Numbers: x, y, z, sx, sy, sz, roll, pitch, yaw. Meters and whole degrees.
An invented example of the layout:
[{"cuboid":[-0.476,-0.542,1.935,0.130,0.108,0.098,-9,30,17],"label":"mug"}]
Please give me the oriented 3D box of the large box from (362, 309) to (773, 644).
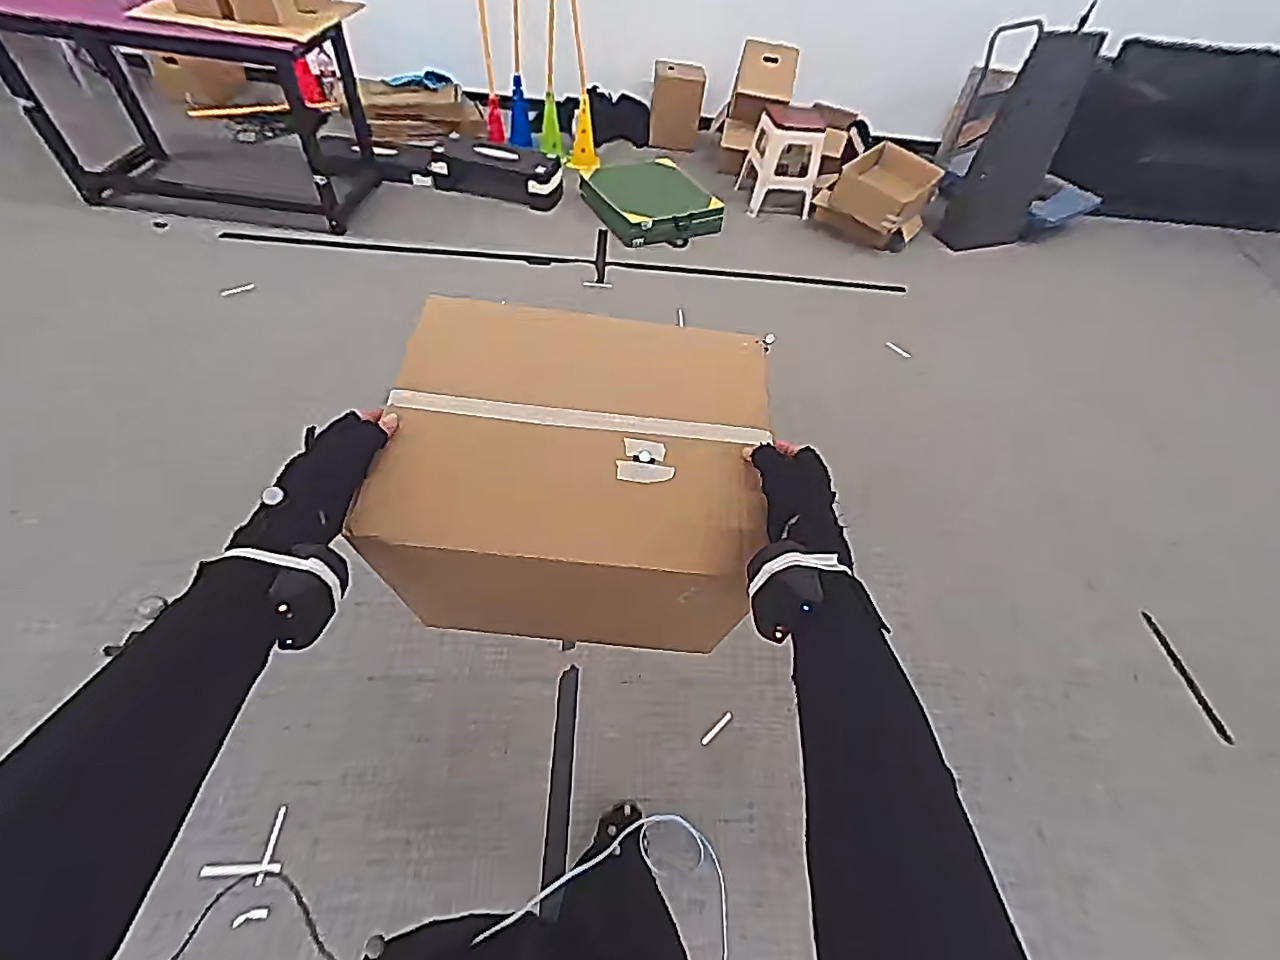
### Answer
[{"cuboid":[-0.075,0.015,0.718,0.408,0.320,0.320,6,60,-4],"label":"large box"}]
